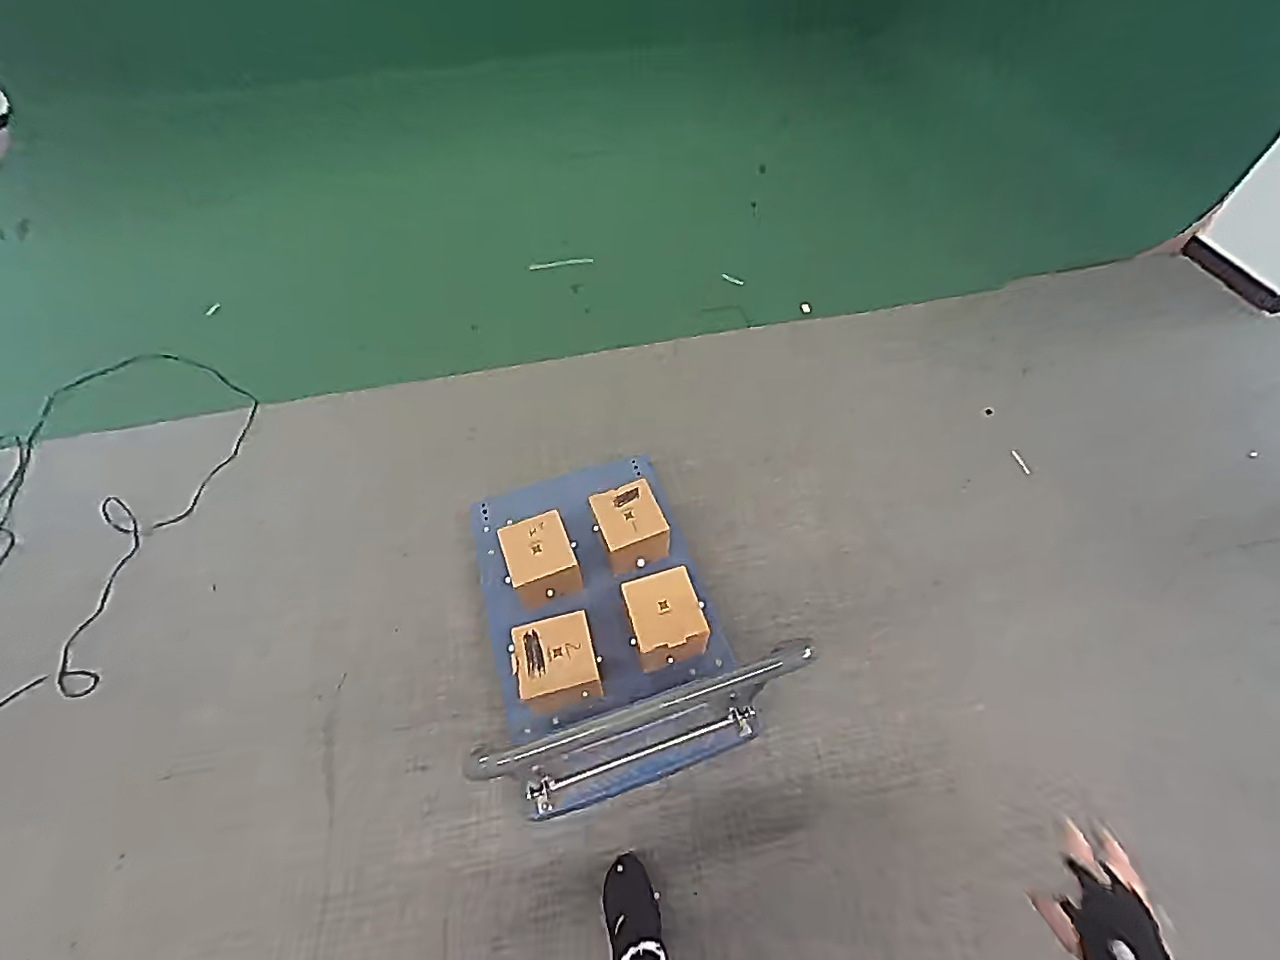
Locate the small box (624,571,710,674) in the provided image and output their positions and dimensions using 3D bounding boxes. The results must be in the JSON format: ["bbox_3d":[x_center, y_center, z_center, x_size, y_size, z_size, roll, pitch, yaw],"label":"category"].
[{"bbox_3d":[0.062,0.360,1.356,0.168,0.176,0.179,-15,57,-9],"label":"small box"}]

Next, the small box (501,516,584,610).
[{"bbox_3d":[-0.257,0.232,1.452,0.168,0.176,0.179,-19,57,-12],"label":"small box"}]

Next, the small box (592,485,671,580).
[{"bbox_3d":[-0.024,0.149,1.502,0.168,0.176,0.179,-19,58,-10],"label":"small box"}]
